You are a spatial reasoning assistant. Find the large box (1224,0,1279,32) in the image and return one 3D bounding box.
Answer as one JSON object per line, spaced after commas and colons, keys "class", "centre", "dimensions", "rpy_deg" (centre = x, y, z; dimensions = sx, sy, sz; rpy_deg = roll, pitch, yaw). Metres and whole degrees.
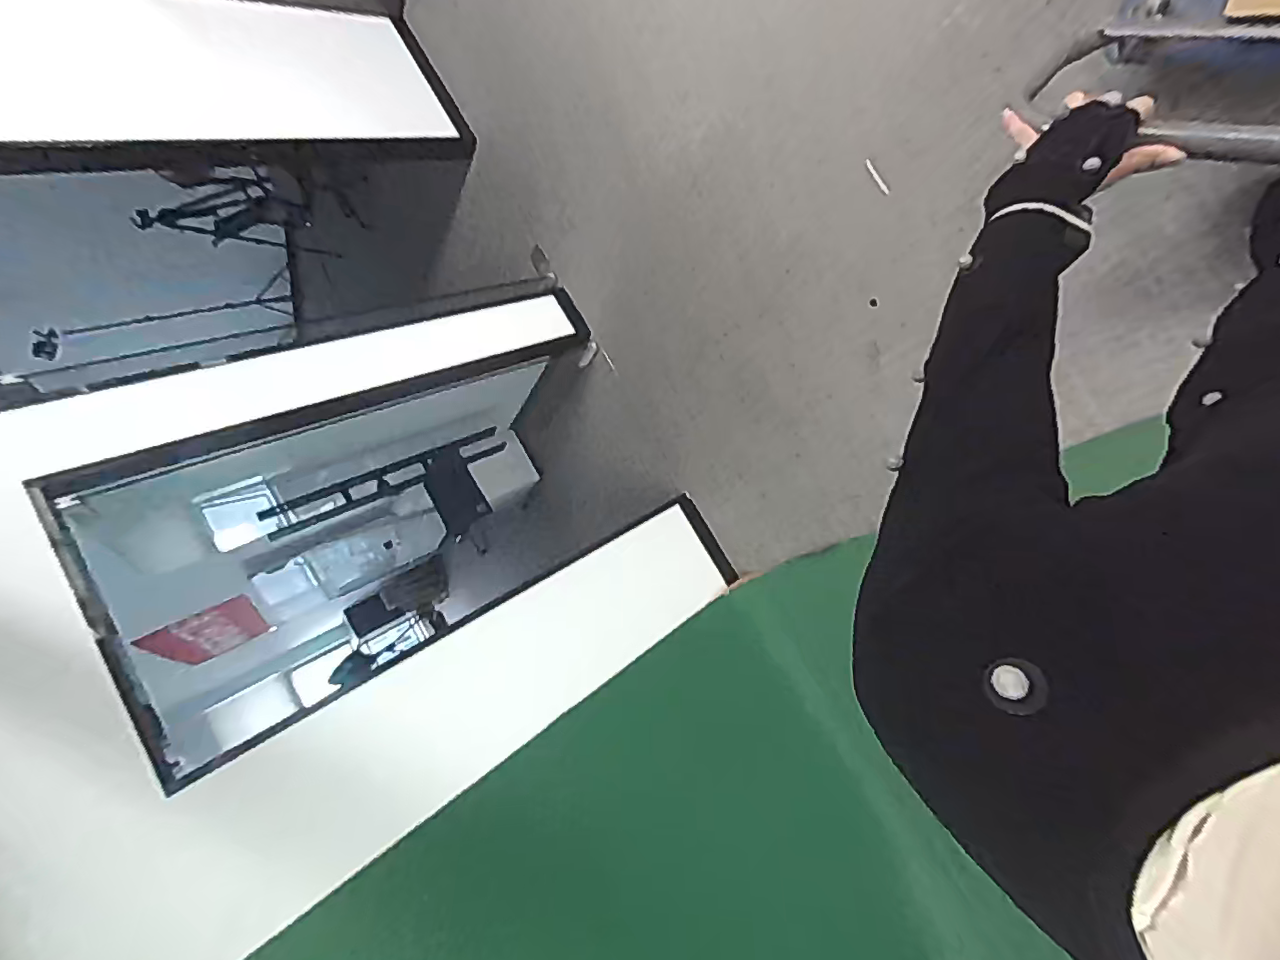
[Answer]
{"class": "large box", "centre": [0.967, -0.752, 0.580], "dimensions": [0.320, 0.320, 0.408], "rpy_deg": [31, 138, 34]}
